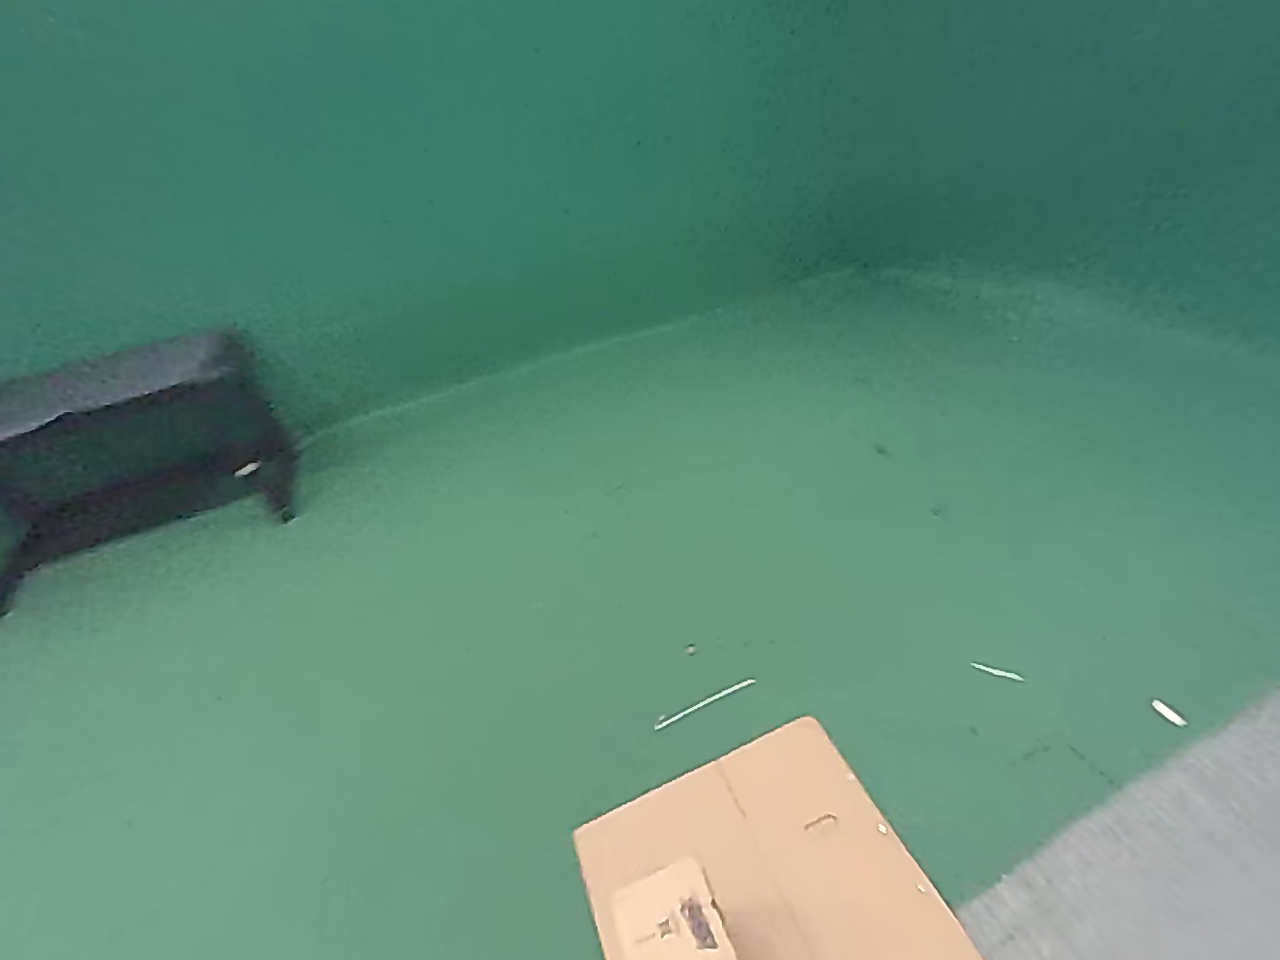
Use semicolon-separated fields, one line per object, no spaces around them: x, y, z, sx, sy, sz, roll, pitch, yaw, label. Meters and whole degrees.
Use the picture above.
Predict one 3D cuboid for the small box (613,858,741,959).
0.069;0.818;0.959;0.179;0.176;0.168;-21;40;-9;small box
